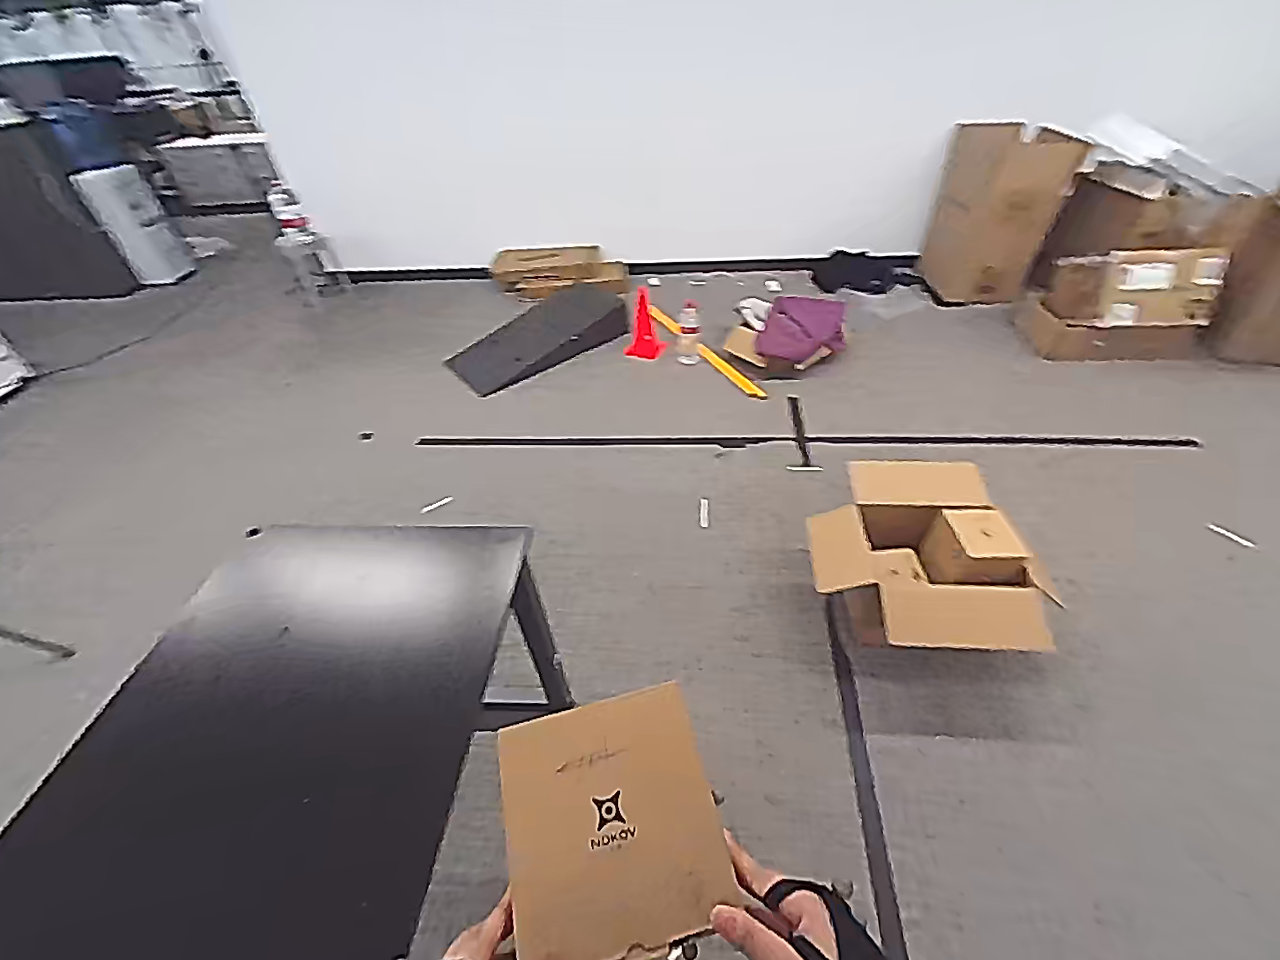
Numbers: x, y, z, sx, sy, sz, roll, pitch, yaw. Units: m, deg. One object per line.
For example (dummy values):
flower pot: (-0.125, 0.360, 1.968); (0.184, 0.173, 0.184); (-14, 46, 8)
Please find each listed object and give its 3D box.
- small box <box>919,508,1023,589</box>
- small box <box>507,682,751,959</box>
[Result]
small box: (0.937, 0.200, 1.549); (0.168, 0.176, 0.179); (-1, 43, -1)
small box: (-0.012, 0.311, 0.487); (0.168, 0.176, 0.179); (-13, 52, -6)
